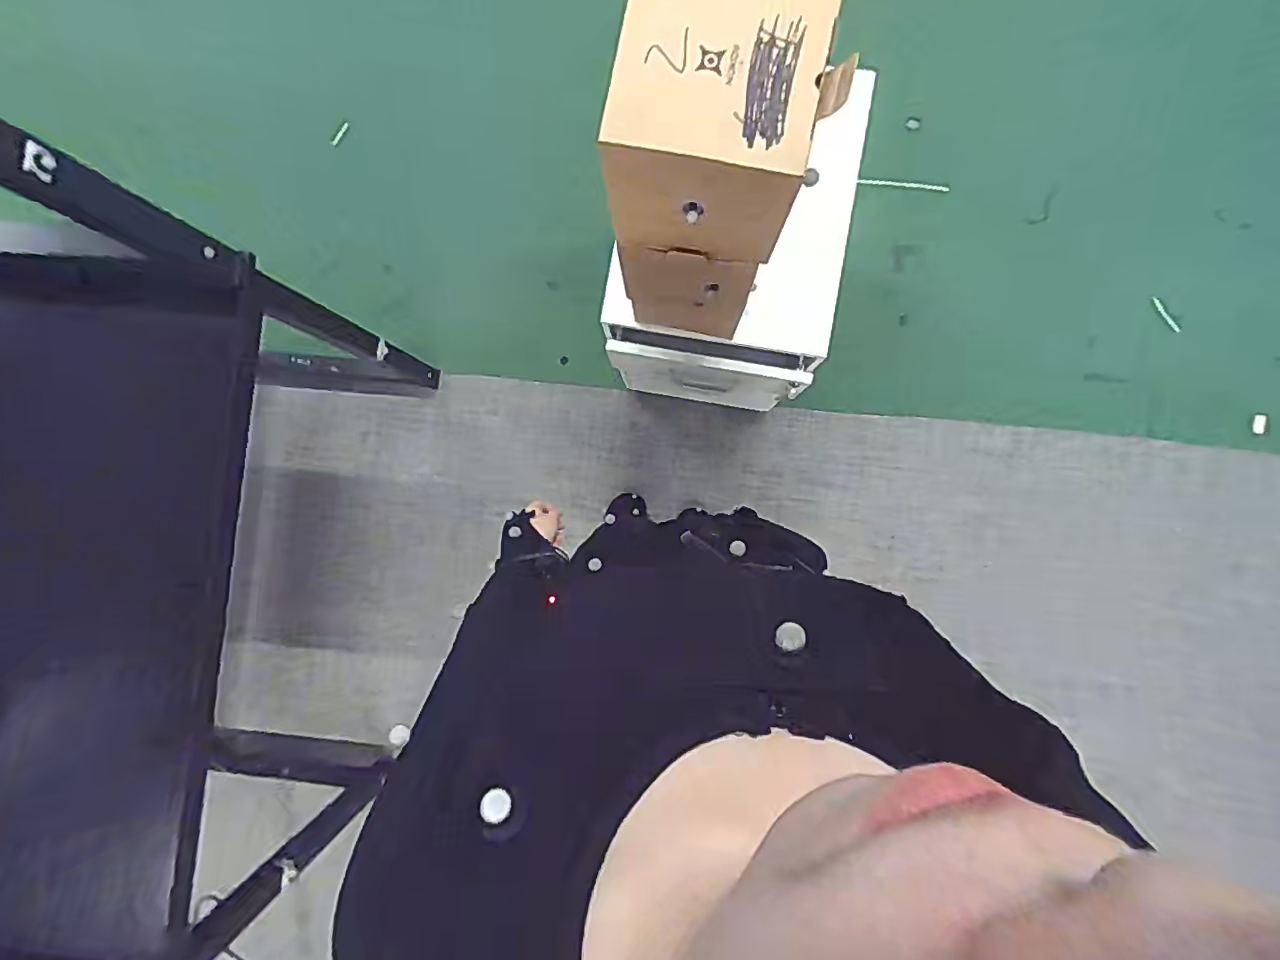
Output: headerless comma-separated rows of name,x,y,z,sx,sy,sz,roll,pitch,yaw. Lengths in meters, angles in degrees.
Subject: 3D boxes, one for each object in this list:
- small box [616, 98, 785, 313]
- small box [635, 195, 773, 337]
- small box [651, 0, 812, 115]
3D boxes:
small box,0.071,-0.327,0.679,0.168,0.176,0.179,9,87,3
small box,0.089,-0.337,0.840,0.179,0.176,0.168,12,87,3
small box,0.117,-0.574,0.688,0.179,0.176,0.168,13,88,3
